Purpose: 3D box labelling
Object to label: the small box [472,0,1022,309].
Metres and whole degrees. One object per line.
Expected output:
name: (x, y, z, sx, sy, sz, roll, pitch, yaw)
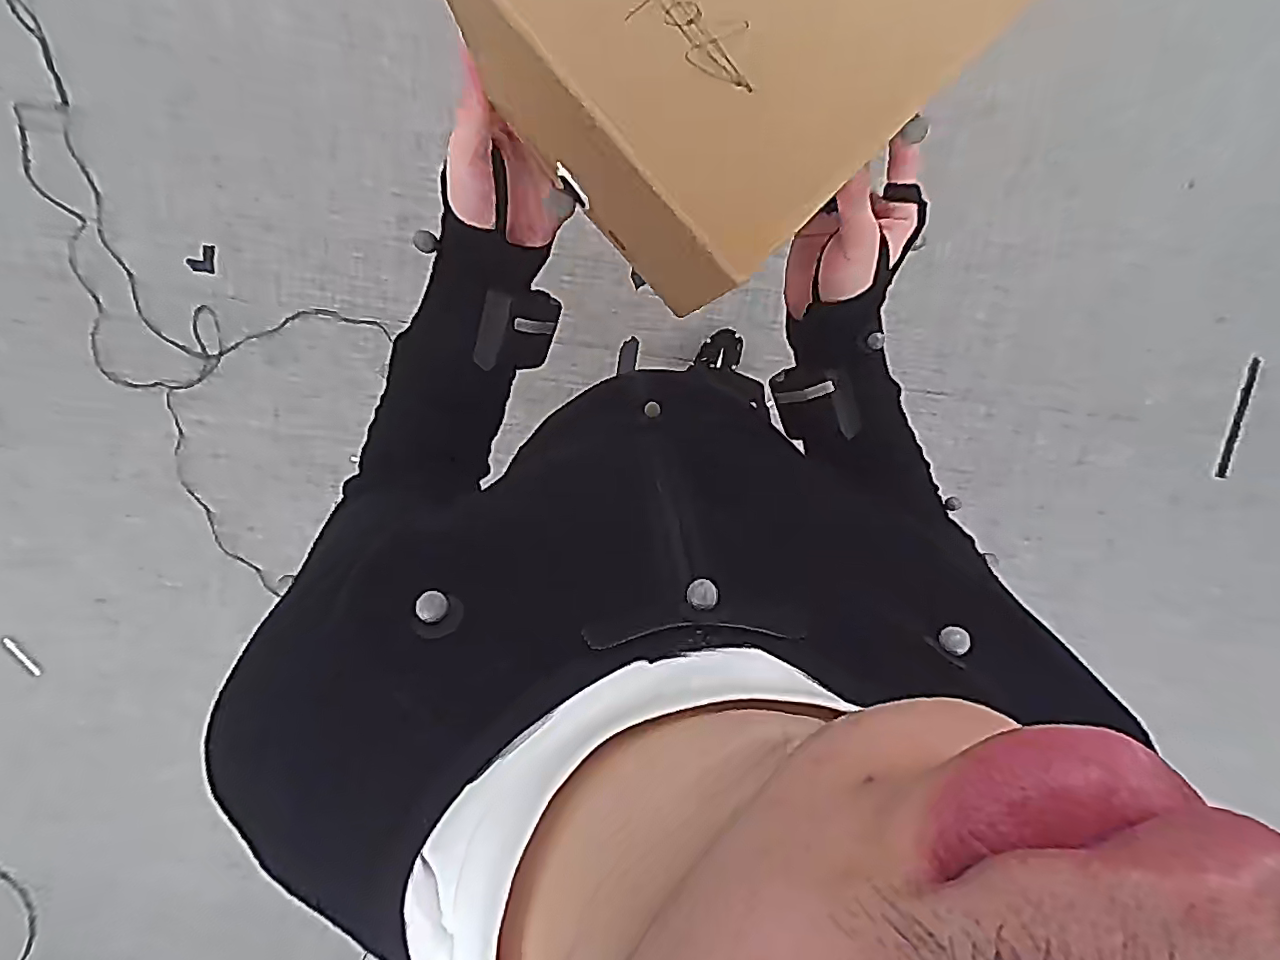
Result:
small box: (0.038, -0.209, 0.266, 0.179, 0.176, 0.168, -45, 100, 7)
